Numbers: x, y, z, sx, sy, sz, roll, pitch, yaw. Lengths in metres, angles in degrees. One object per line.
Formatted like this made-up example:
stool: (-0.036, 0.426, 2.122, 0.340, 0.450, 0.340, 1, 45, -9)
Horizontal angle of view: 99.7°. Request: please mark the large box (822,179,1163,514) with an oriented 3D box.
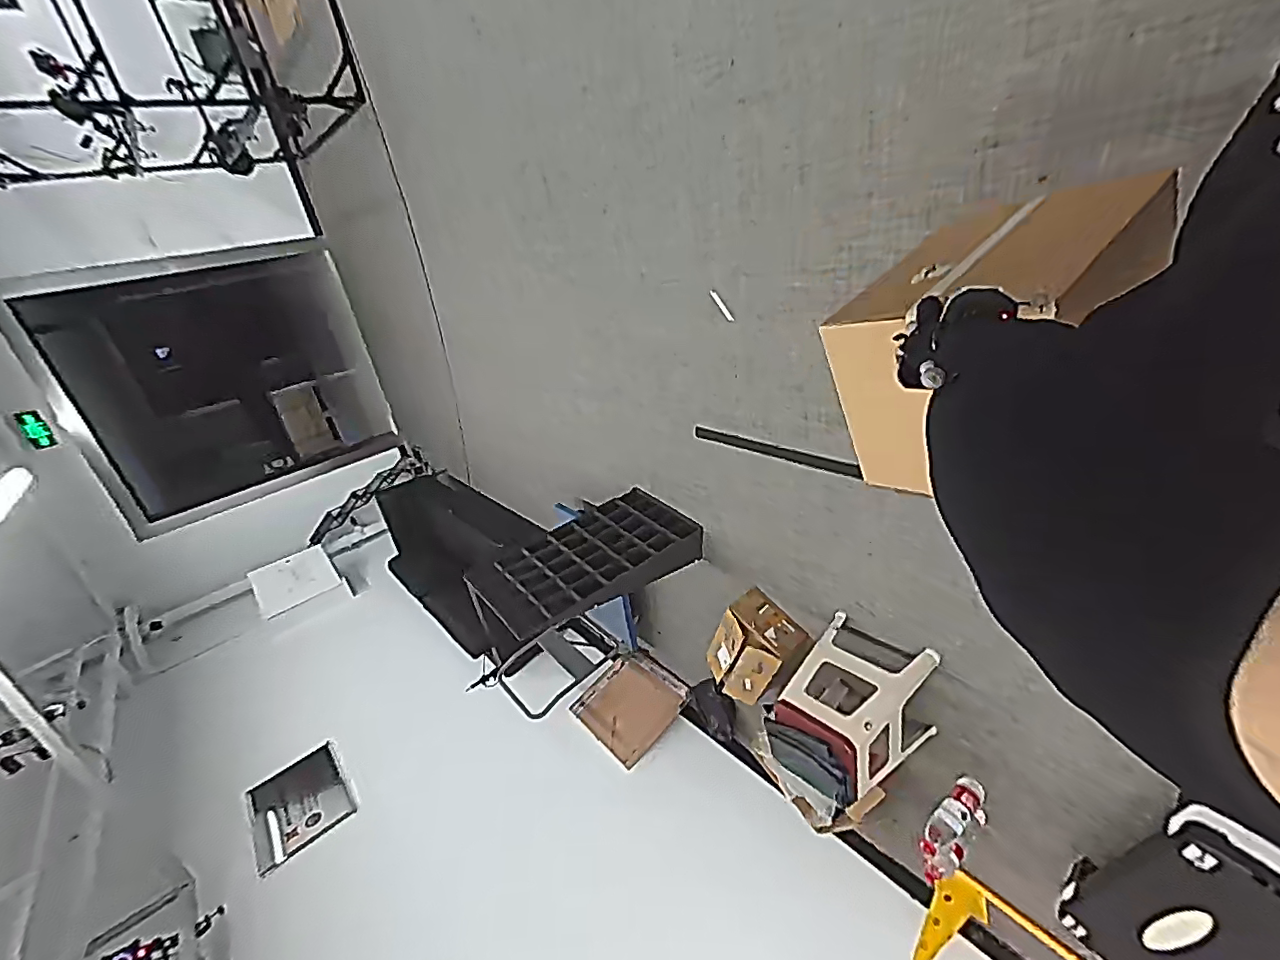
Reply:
large box: (0.568, -0.207, 0.860, 0.320, 0.408, 0.320, 13, 137, 56)
